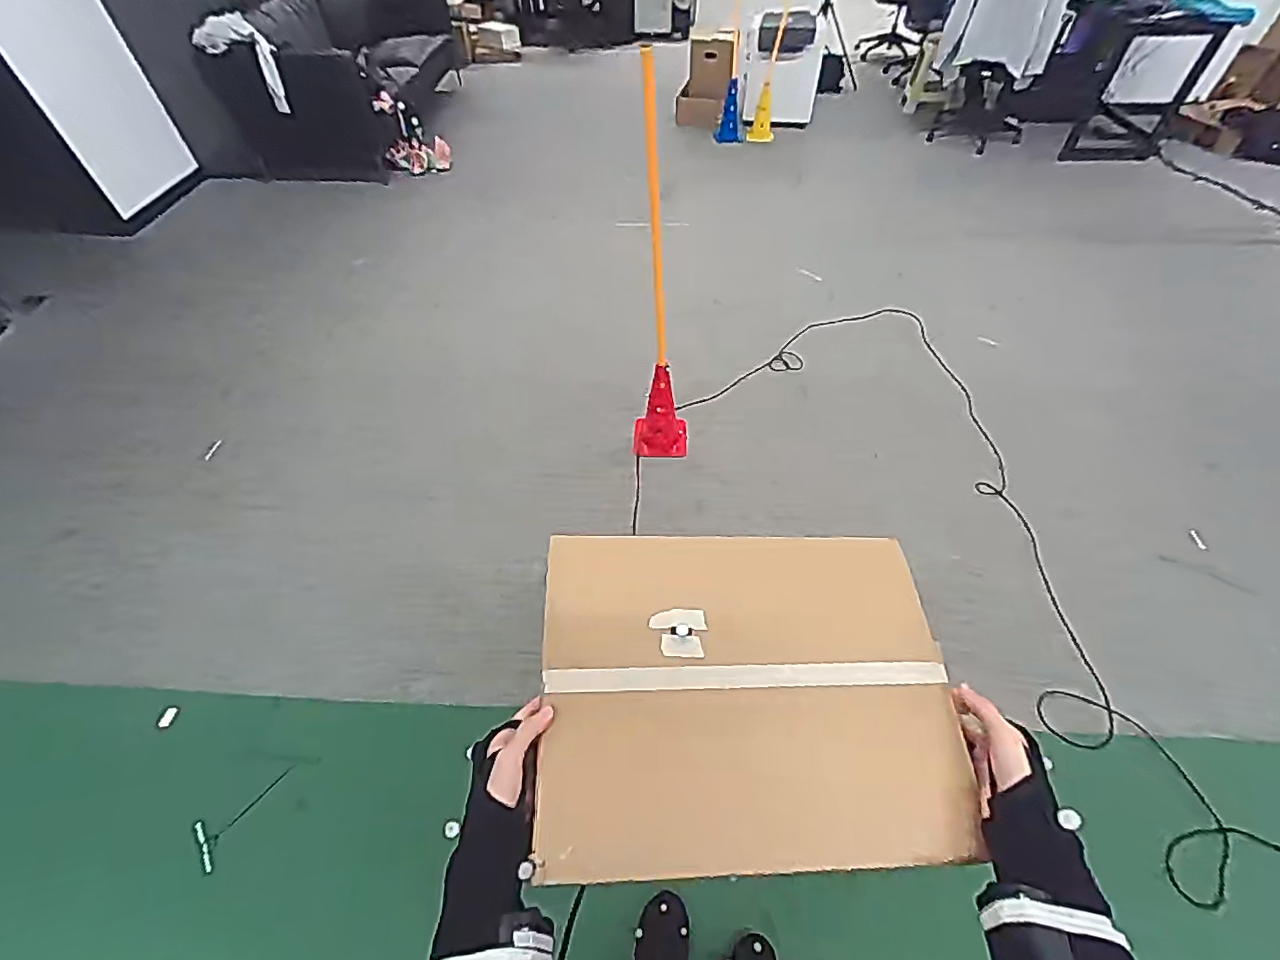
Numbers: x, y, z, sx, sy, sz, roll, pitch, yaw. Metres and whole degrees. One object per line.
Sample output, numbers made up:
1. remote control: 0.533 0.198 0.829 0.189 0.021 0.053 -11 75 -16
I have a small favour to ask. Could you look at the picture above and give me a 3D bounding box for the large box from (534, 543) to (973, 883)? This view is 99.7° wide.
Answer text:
1. large box: 0.092 0.283 0.675 0.408 0.320 0.320 1 58 -4
